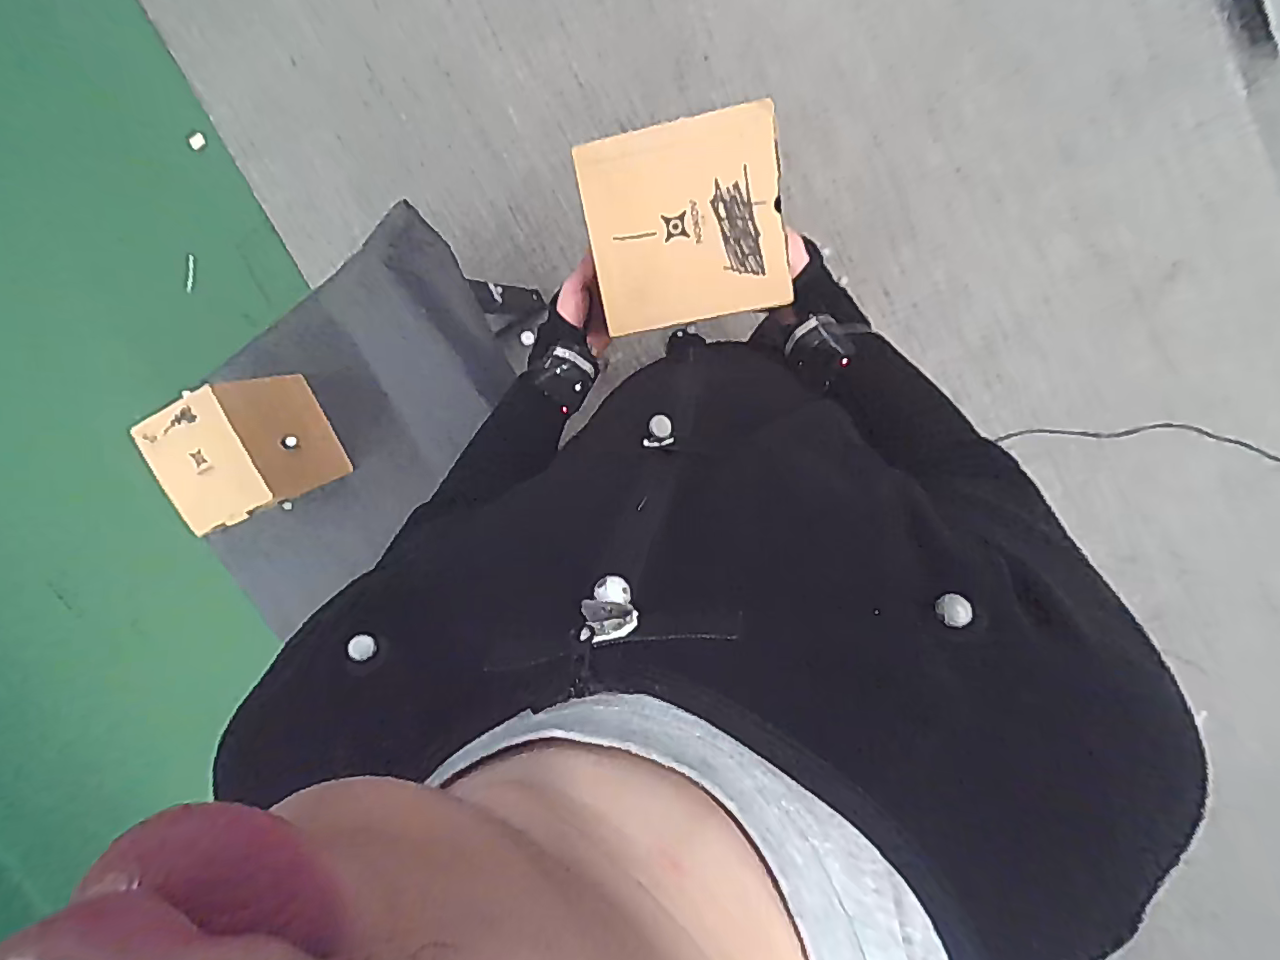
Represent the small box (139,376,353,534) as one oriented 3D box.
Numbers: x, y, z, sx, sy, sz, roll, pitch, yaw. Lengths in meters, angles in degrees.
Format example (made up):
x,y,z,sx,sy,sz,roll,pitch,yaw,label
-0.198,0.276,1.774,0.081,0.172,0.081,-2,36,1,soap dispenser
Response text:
x,y,z,sx,sy,sz,roll,pitch,yaw,label
-0.591,-0.045,0.837,0.168,0.176,0.179,-21,102,15,small box
